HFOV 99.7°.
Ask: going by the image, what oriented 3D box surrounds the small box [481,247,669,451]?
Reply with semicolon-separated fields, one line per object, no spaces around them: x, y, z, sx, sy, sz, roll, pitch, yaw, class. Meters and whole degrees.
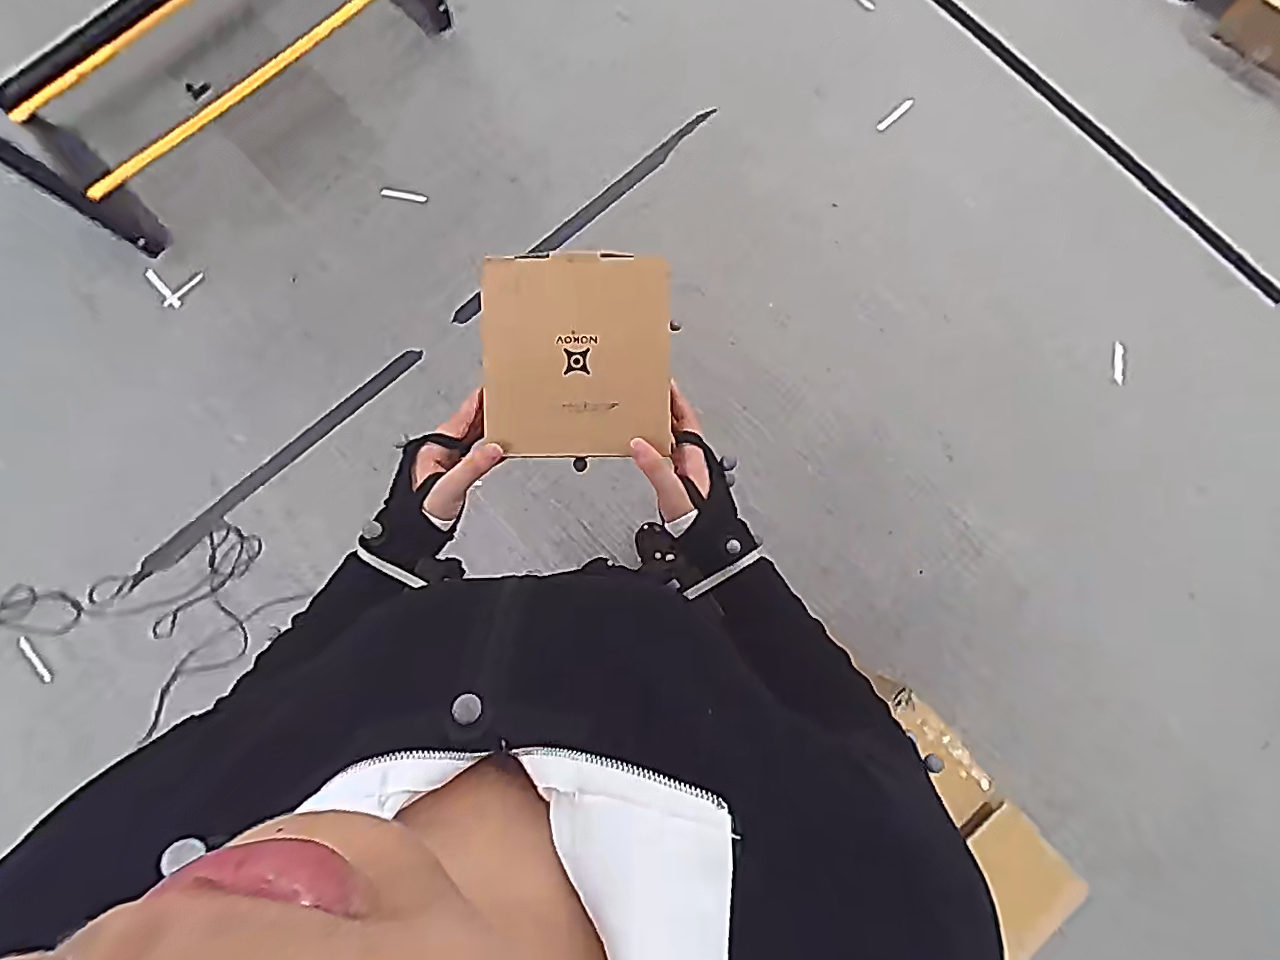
-0.058;-0.119;0.552;0.168;0.176;0.179;-1;94;0;small box
